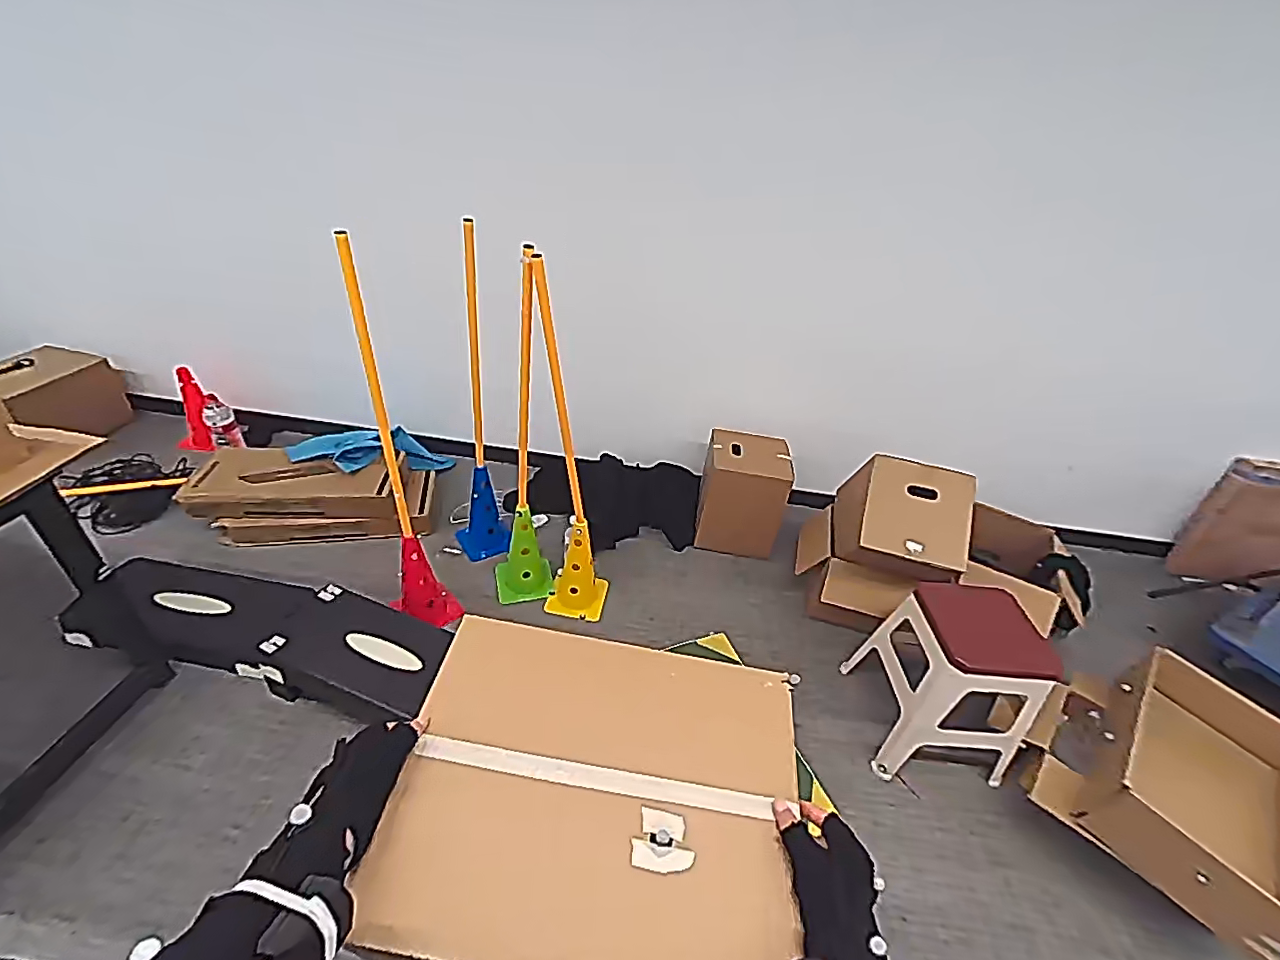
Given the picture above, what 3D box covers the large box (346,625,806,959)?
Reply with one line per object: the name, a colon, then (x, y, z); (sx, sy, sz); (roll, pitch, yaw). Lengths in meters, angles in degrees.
large box: (-0.056, 0.421, 0.659); (0.408, 0.320, 0.320); (10, 42, 1)
